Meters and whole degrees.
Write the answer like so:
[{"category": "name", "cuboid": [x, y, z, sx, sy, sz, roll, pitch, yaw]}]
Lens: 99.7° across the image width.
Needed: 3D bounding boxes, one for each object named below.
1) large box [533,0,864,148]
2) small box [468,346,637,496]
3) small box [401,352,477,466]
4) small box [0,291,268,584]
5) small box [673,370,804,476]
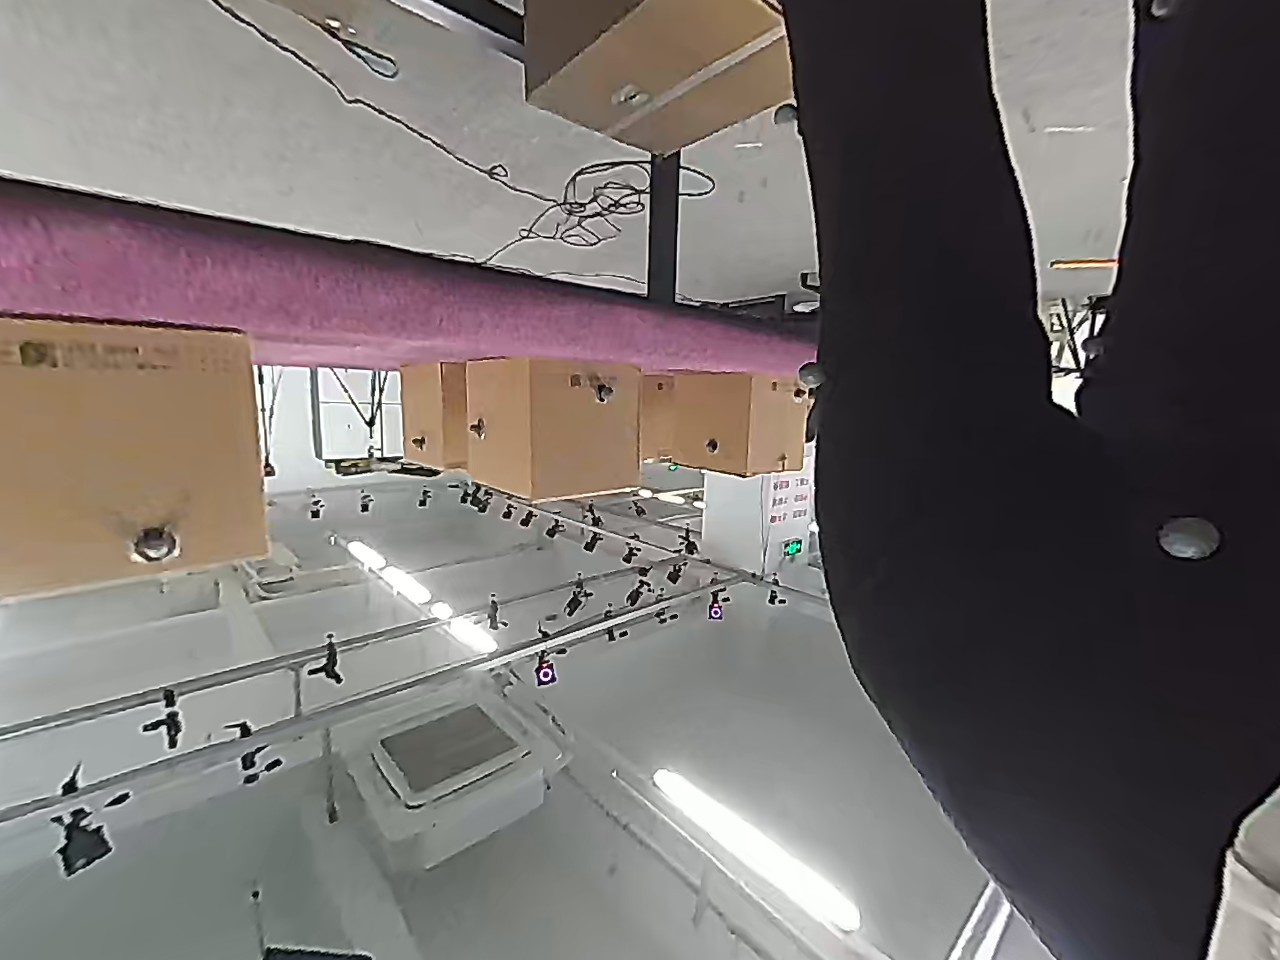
[{"category": "large box", "cuboid": [0.072, -0.755, 0.787, 0.320, 0.320, 0.408, -4, -168, -40]}, {"category": "small box", "cuboid": [-0.114, -0.082, 0.715, 0.168, 0.176, 0.179, -7, -168, -40]}, {"category": "small box", "cuboid": [-0.287, -0.117, 0.907, 0.168, 0.176, 0.179, -5, -170, -42]}, {"category": "small box", "cuboid": [-0.393, -0.040, 0.394, 0.168, 0.176, 0.179, -9, -164, -44]}, {"category": "small box", "cuboid": [0.177, -0.108, 0.964, 0.168, 0.176, 0.179, -5, -168, -40]}]
